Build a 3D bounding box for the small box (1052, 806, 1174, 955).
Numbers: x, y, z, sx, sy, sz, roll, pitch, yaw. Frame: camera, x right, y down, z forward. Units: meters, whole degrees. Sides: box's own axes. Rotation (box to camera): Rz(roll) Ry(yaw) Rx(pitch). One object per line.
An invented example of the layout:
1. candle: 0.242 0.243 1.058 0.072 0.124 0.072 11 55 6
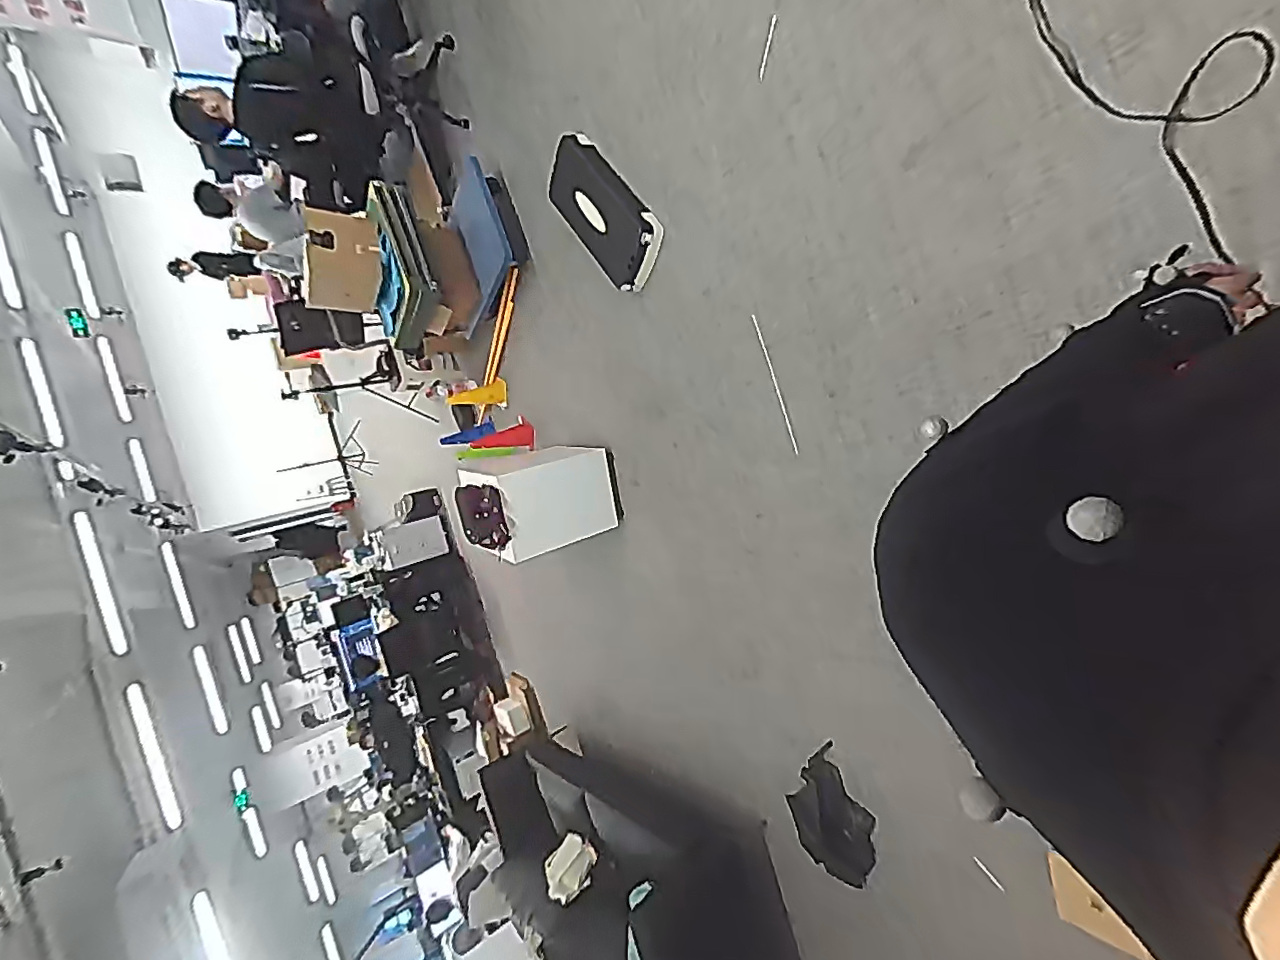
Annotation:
1. small box: 1.075 0.893 1.229 0.168 0.176 0.179 -5 102 57
